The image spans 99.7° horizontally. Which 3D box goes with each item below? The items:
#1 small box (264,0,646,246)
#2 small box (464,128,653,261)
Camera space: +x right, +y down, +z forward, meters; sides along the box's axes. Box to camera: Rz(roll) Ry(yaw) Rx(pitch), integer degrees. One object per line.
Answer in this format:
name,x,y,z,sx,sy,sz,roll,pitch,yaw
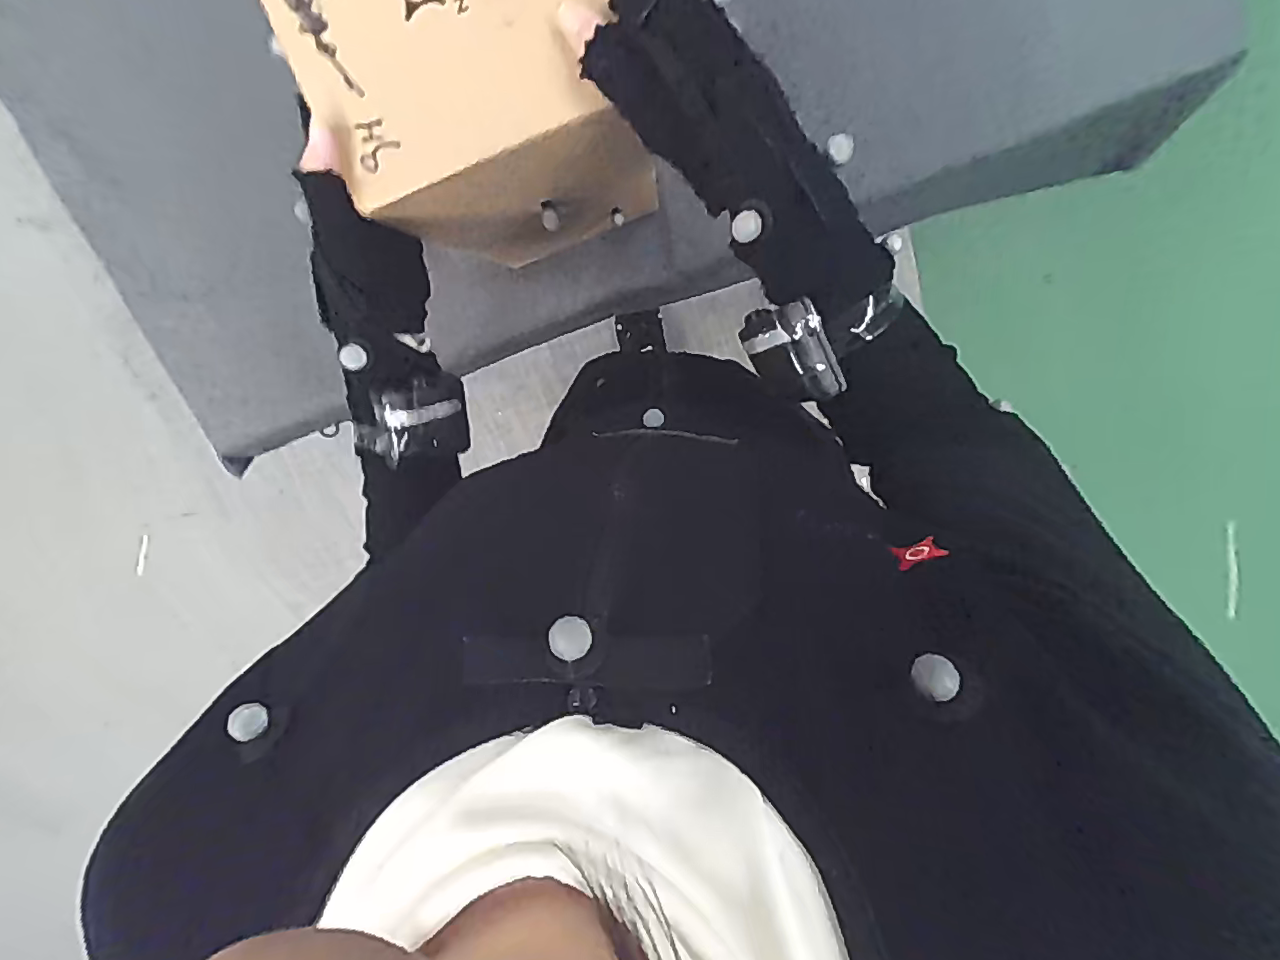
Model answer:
small box,-0.103,-0.273,0.353,0.179,0.176,0.168,-18,104,7
small box,-0.095,-0.324,0.509,0.179,0.176,0.168,-19,105,10
